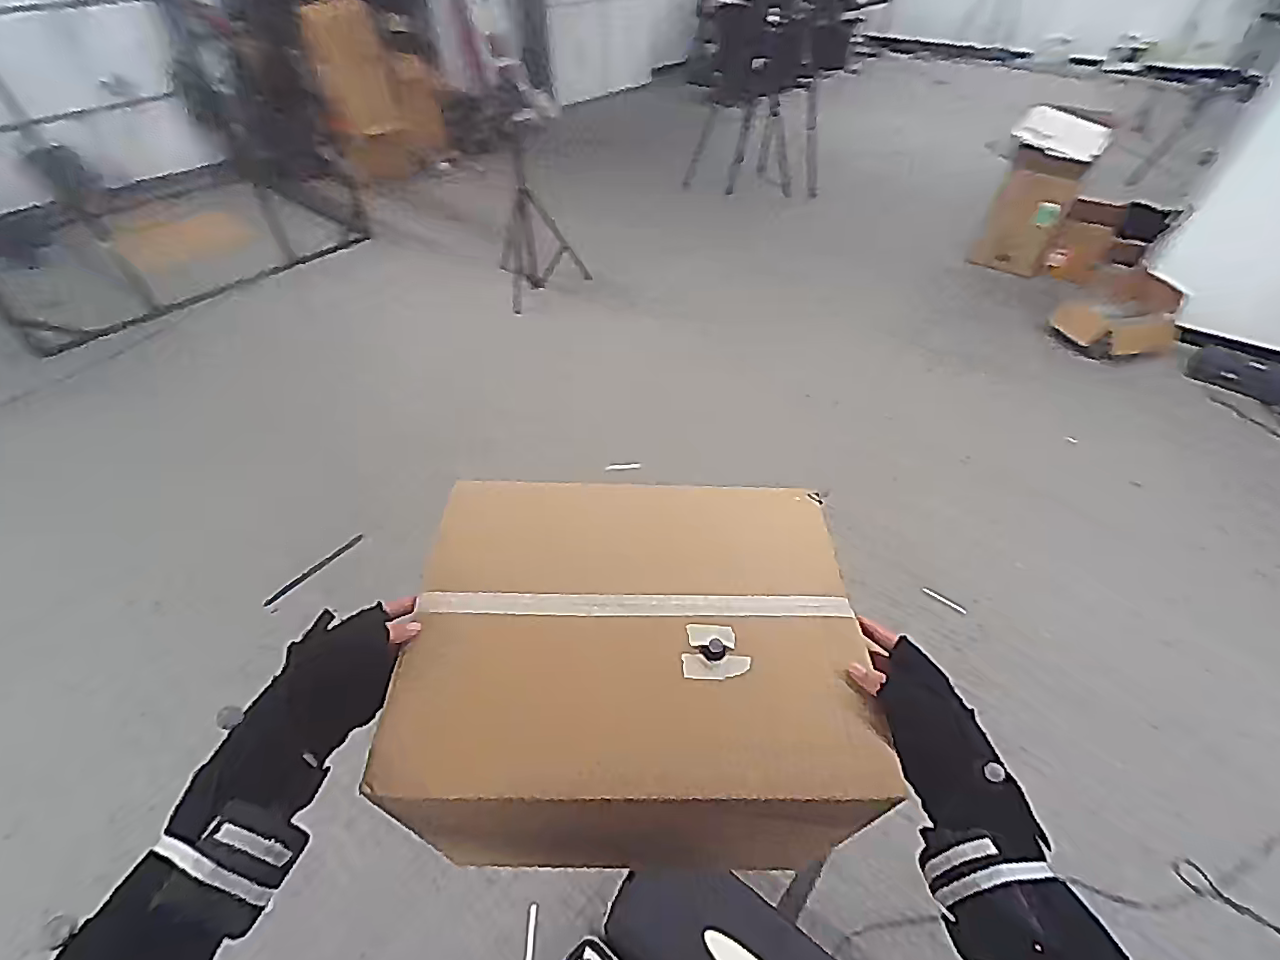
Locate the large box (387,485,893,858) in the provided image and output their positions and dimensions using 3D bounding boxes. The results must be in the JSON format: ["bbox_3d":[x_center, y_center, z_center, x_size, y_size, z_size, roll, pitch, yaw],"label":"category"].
[{"bbox_3d":[-0.005,0.225,0.625,0.408,0.320,0.320,3,47,-1],"label":"large box"}]
